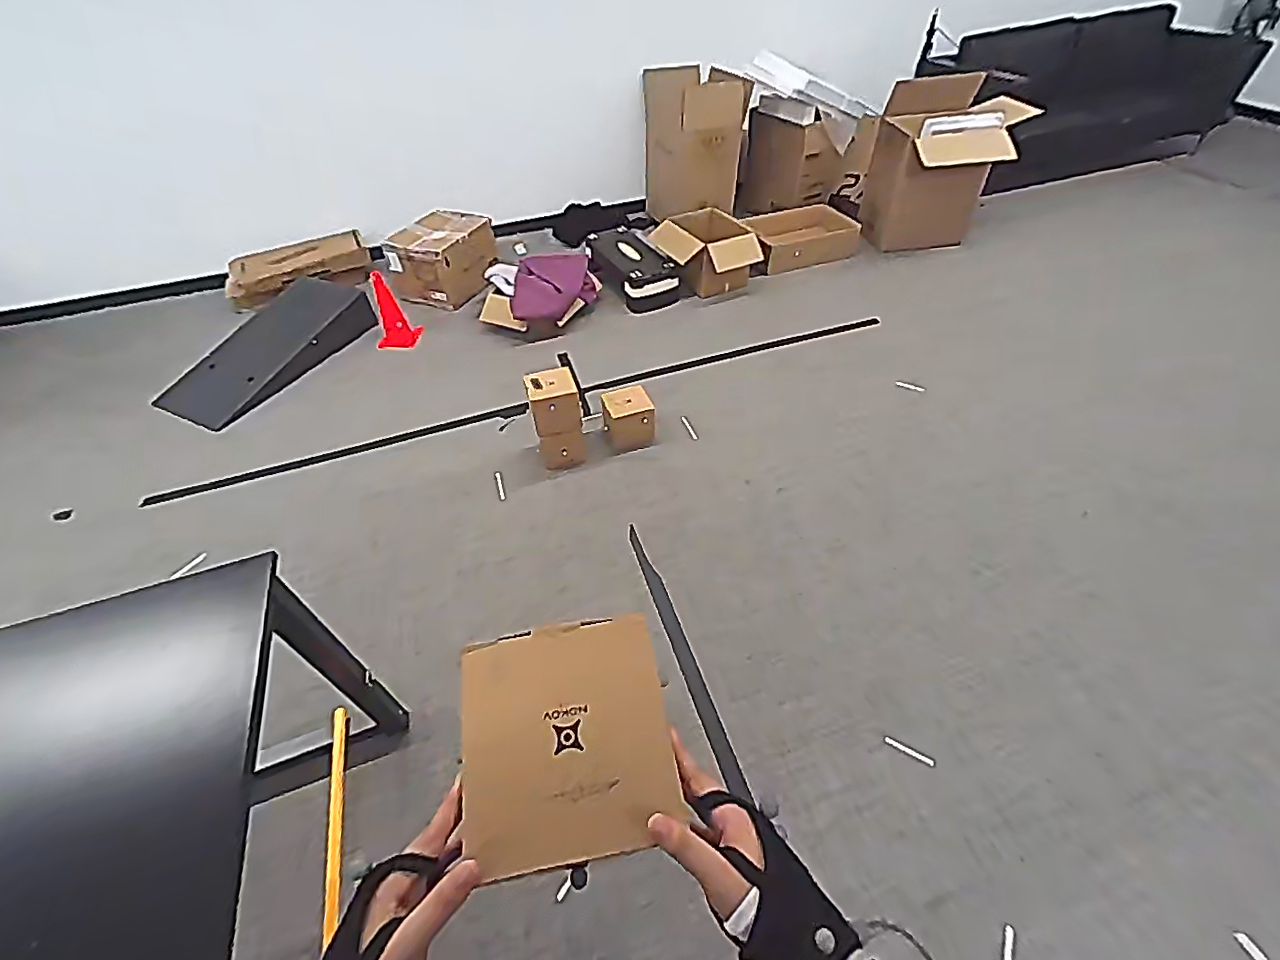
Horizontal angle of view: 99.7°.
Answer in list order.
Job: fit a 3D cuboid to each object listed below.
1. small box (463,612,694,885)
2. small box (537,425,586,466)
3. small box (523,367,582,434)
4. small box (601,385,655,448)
[{"bbox_3d":[-0.057,0.243,0.491,0.168,0.176,0.179,-8,57,-6],"label":"small box"},{"bbox_3d":[-0.316,-0.174,2.126,0.168,0.176,0.179,-14,48,-10],"label":"small box"},{"bbox_3d":[-0.324,-0.293,2.011,0.179,0.176,0.168,-14,47,-10],"label":"small box"},{"bbox_3d":[-0.048,-0.256,2.188,0.179,0.176,0.168,-17,48,-12],"label":"small box"}]
